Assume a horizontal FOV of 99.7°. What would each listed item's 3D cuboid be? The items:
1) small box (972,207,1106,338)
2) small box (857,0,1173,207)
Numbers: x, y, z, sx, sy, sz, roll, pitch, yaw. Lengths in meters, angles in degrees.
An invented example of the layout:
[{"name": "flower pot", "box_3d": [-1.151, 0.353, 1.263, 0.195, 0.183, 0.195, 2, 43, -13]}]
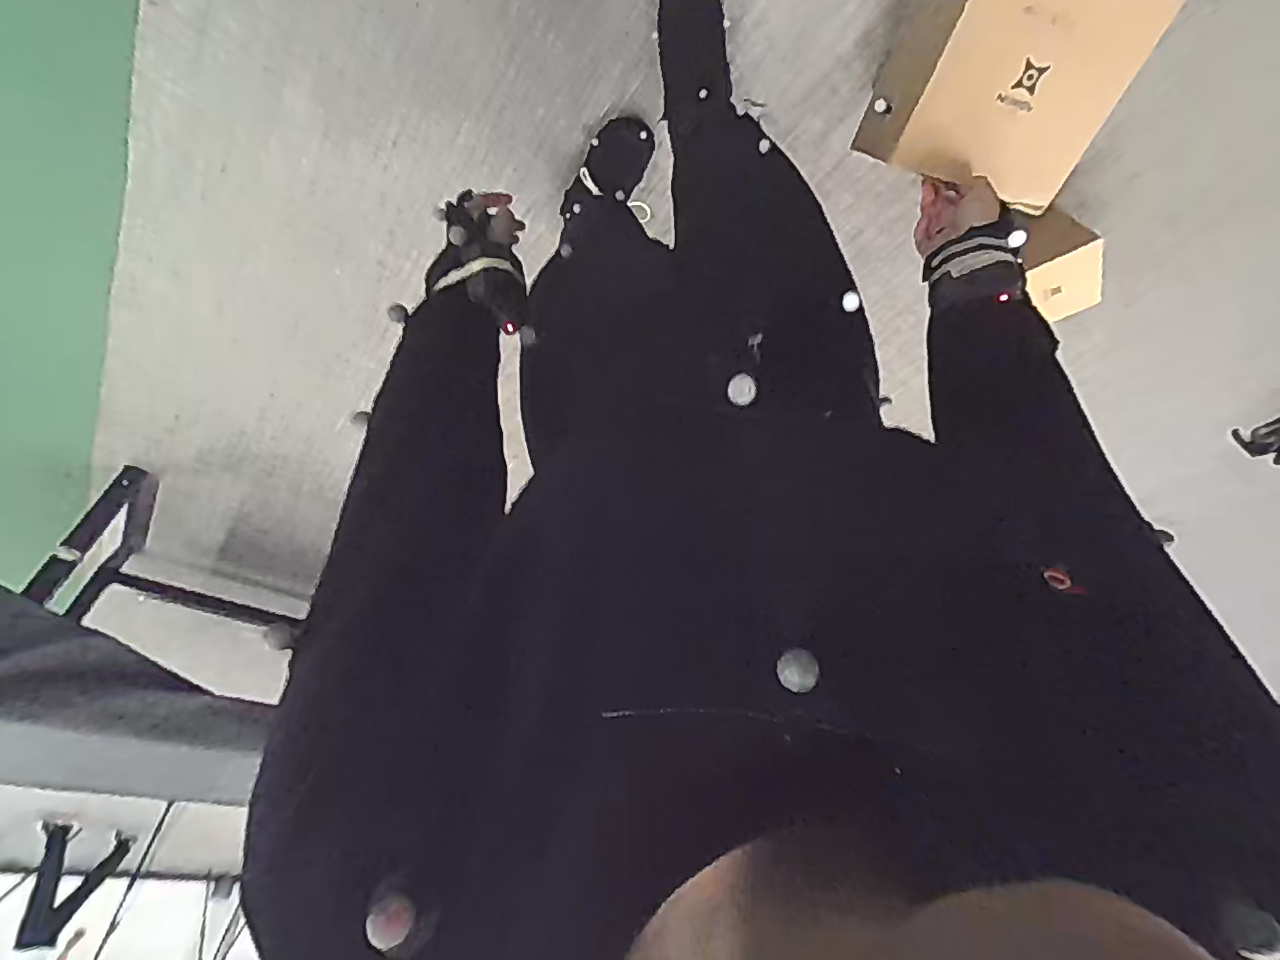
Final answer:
[{"name": "small box", "box_3d": [0.855, -0.450, 1.169, 0.179, 0.176, 0.168, -24, 134, 22]}, {"name": "small box", "box_3d": [0.335, -0.396, 0.529, 0.168, 0.176, 0.179, 13, 126, -5]}]
